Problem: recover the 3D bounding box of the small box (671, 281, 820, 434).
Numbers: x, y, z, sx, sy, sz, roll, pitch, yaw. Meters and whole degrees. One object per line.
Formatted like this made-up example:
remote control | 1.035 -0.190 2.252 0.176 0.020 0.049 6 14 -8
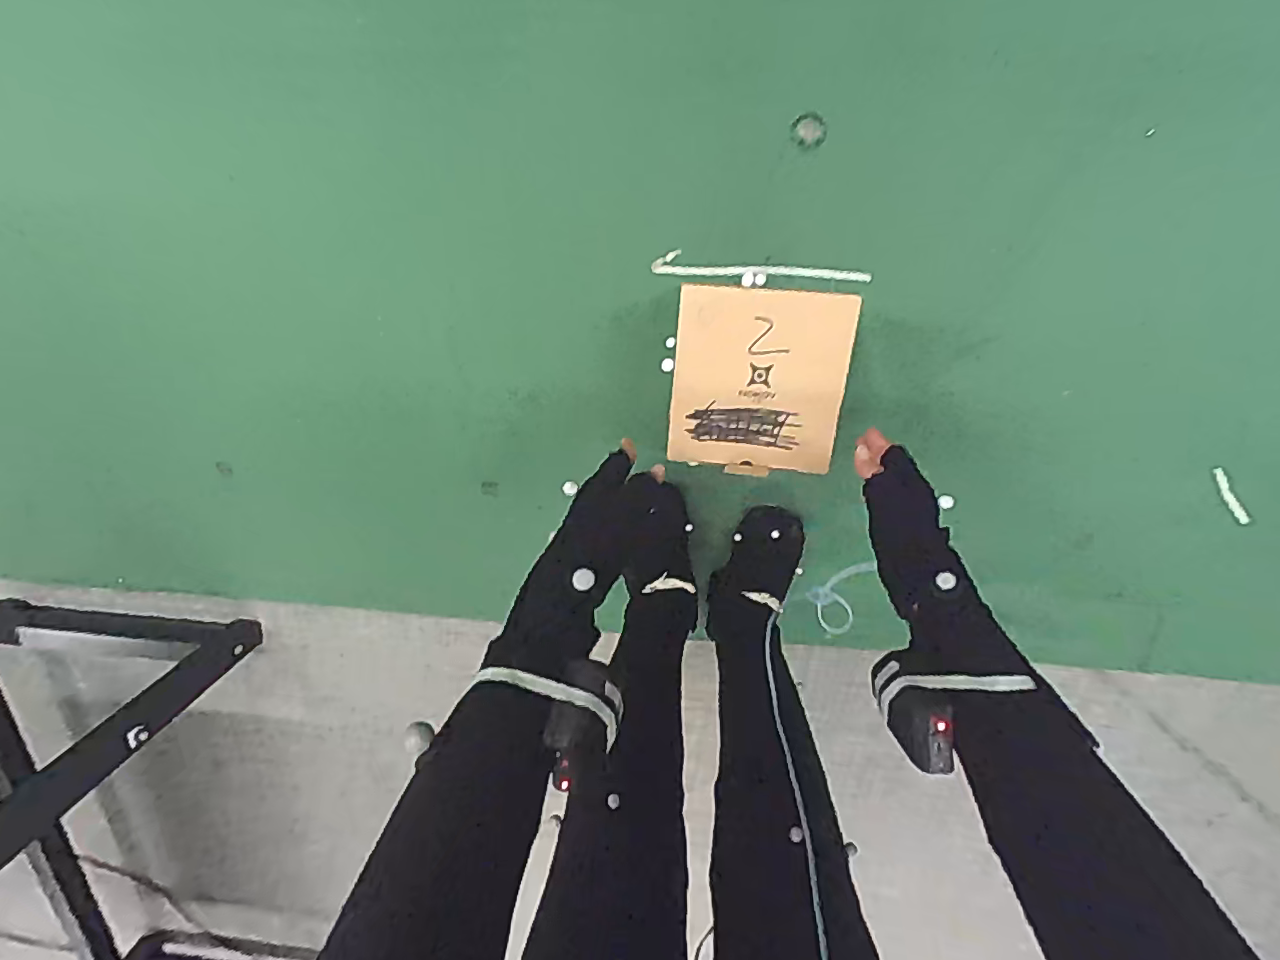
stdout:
small box | 0.136 -0.176 0.752 0.168 0.176 0.179 5 111 3
